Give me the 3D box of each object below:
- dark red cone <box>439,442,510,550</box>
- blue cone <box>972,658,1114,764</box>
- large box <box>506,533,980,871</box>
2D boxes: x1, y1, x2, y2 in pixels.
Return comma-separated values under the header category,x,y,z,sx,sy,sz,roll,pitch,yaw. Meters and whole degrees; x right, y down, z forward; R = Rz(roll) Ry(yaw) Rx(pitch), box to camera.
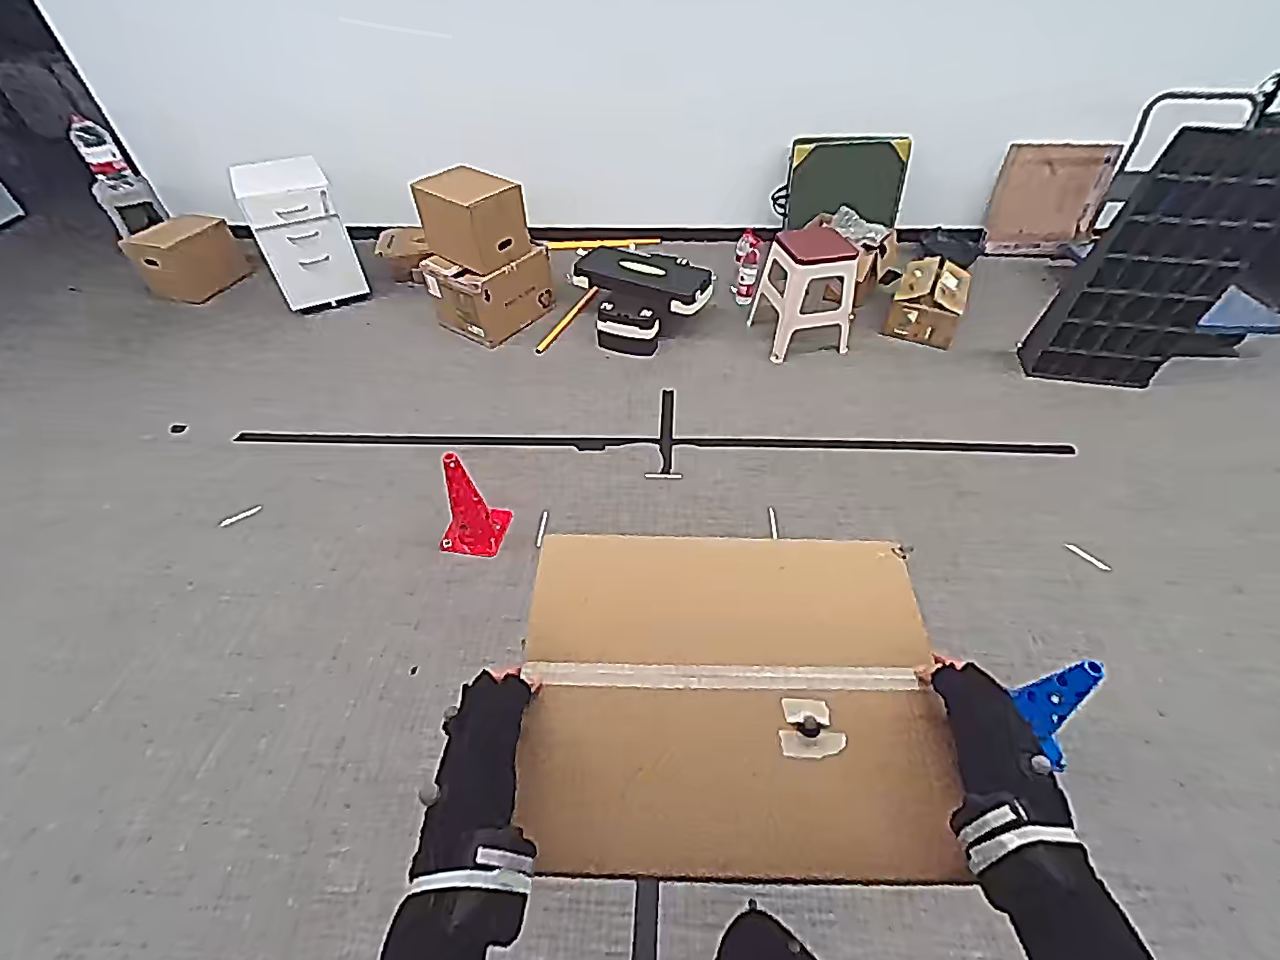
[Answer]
category,x,y,z,sx,sy,sz,roll,pitch,yaw
dark red cone,-0.559,0.037,1.725,0.201,0.394,0.202,6,47,6
blue cone,0.978,0.521,1.285,0.192,0.380,0.193,4,47,4
large box,0.084,0.276,0.652,0.408,0.320,0.320,1,54,0
